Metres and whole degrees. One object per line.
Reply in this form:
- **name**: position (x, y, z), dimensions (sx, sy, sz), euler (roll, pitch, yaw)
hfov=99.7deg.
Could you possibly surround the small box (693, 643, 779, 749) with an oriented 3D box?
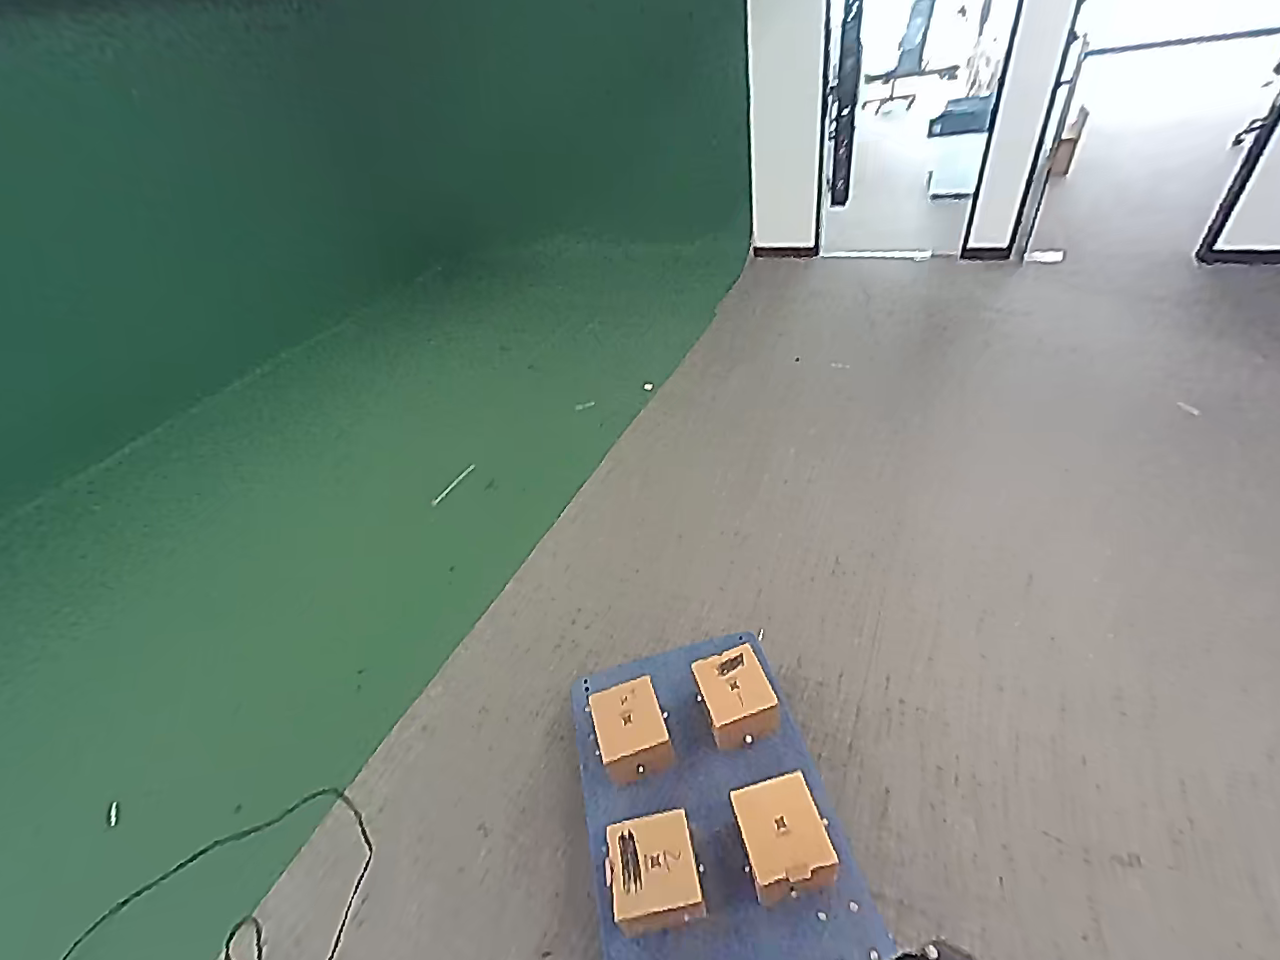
- **small box**: position (0.244, 0.560, 1.399), dimensions (0.168, 0.176, 0.179), euler (-18, 43, -6)

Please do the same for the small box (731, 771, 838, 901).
- **small box**: position (0.302, 0.766, 1.163), dimensions (0.168, 0.176, 0.179), euler (-15, 43, -3)

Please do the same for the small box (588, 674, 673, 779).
- **small box**: position (-0.021, 0.634, 1.378), dimensions (0.168, 0.176, 0.179), euler (-17, 43, -6)
